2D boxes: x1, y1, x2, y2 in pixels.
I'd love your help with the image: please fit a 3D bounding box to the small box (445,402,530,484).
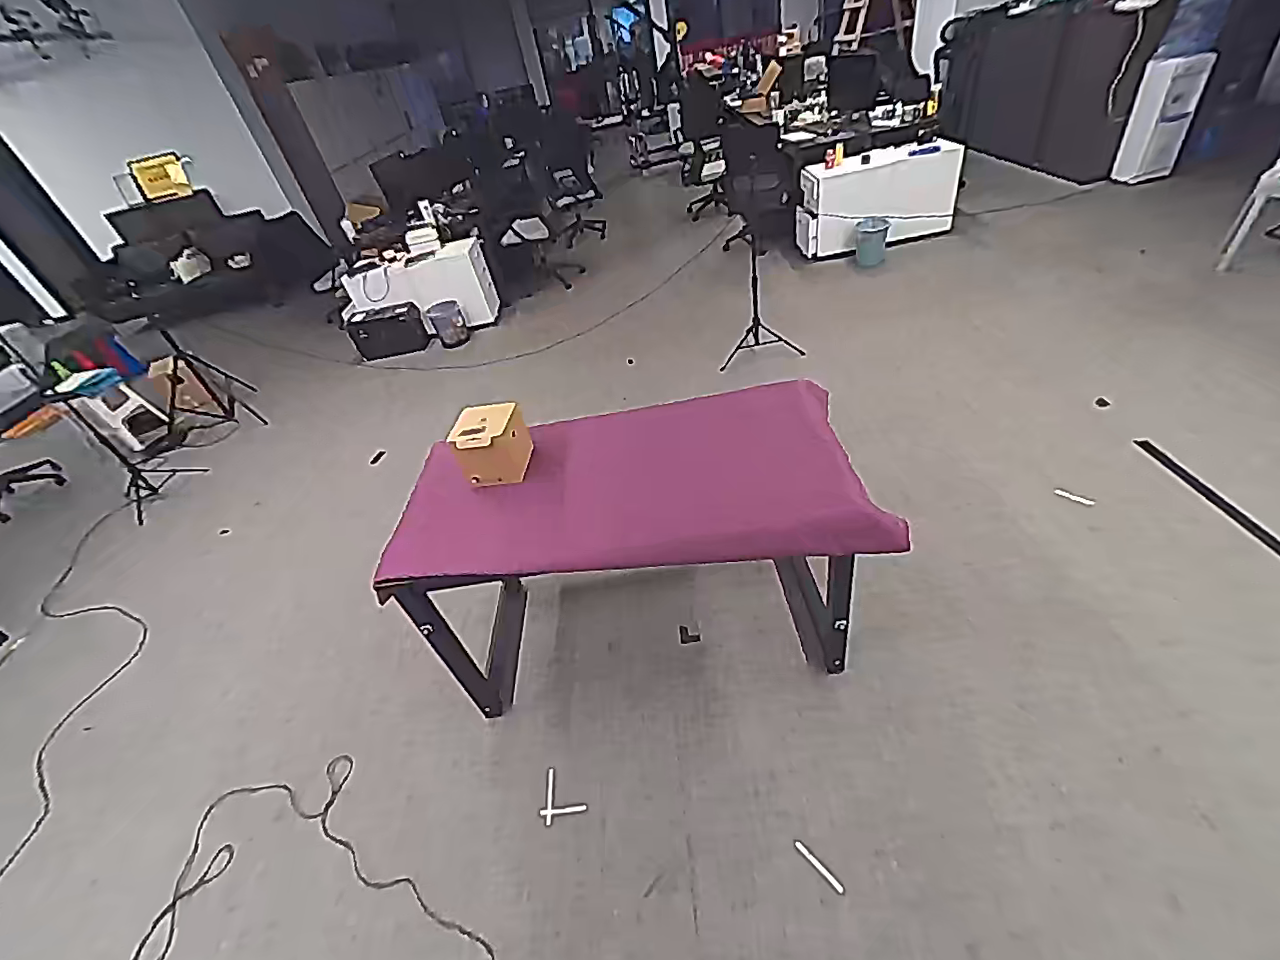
[{"bbox_3d":[-0.434,-0.101,1.572,0.168,0.176,0.179,-5,40,9],"label":"small box"}]
